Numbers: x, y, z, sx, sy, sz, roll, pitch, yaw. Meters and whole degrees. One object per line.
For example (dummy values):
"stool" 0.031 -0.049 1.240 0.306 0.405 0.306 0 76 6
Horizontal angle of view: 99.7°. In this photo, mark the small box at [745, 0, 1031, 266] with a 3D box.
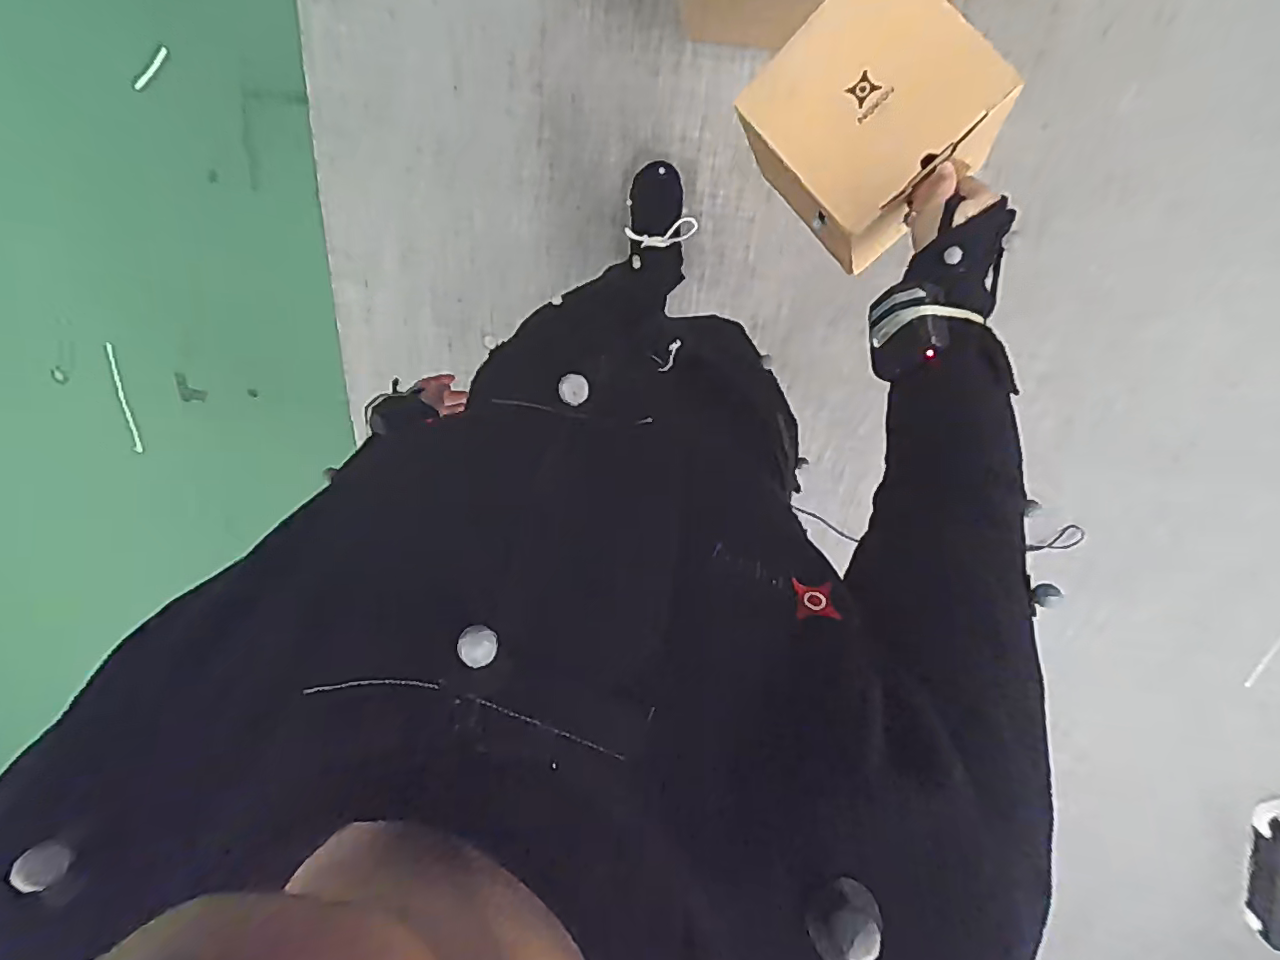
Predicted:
"small box" 0.233 -0.347 0.544 0.168 0.176 0.179 -40 83 22

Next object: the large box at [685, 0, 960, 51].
"large box" 0.280 -0.881 0.818 0.408 0.320 0.320 7 116 2
